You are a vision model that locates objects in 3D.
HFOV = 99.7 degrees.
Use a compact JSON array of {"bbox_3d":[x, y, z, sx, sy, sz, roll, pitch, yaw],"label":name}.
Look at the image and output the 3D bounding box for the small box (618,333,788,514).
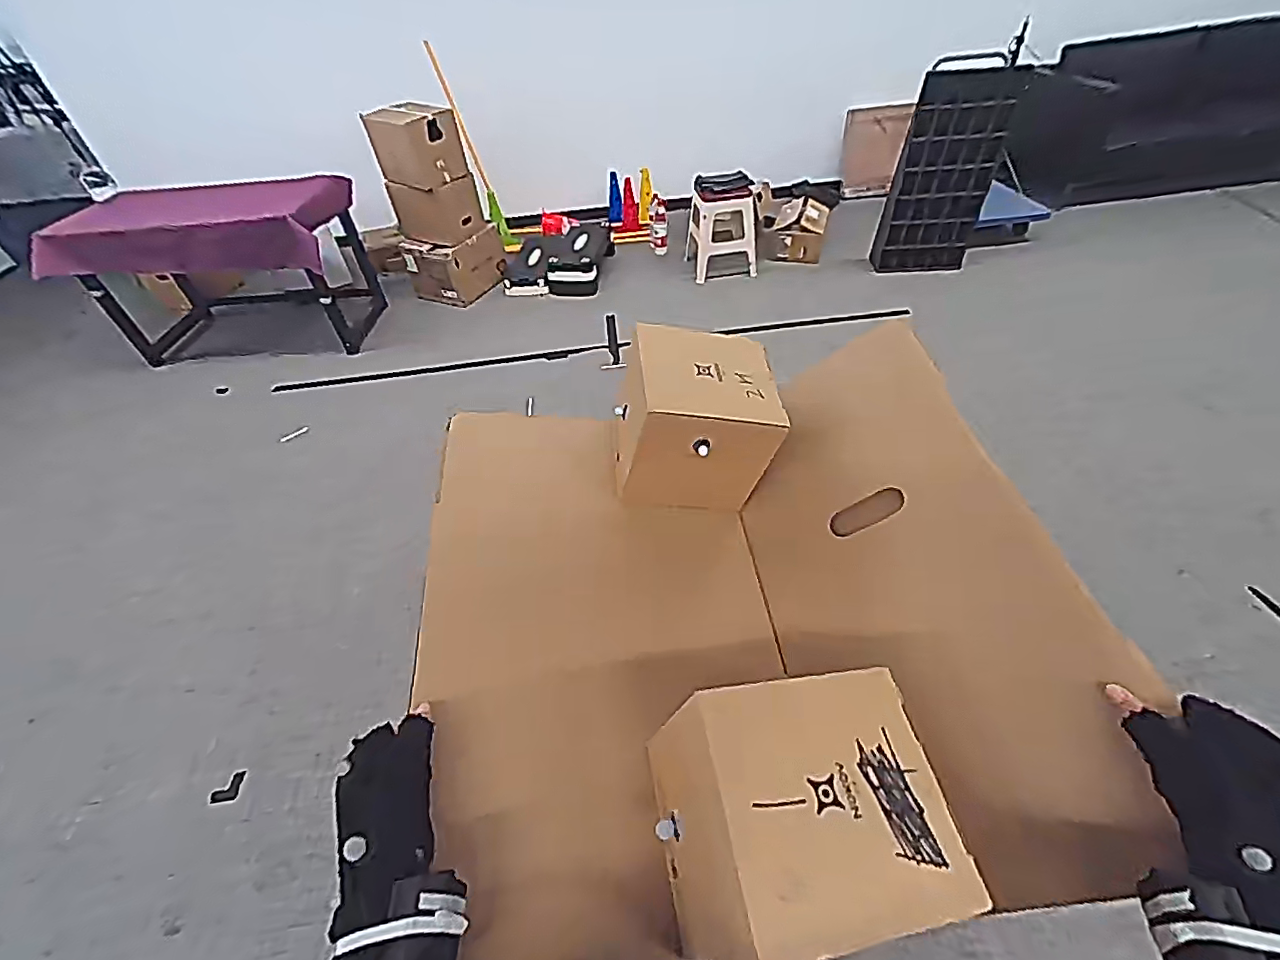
[{"bbox_3d":[0.068,-0.069,0.723,0.179,0.176,0.168,6,50,-13],"label":"small box"}]
